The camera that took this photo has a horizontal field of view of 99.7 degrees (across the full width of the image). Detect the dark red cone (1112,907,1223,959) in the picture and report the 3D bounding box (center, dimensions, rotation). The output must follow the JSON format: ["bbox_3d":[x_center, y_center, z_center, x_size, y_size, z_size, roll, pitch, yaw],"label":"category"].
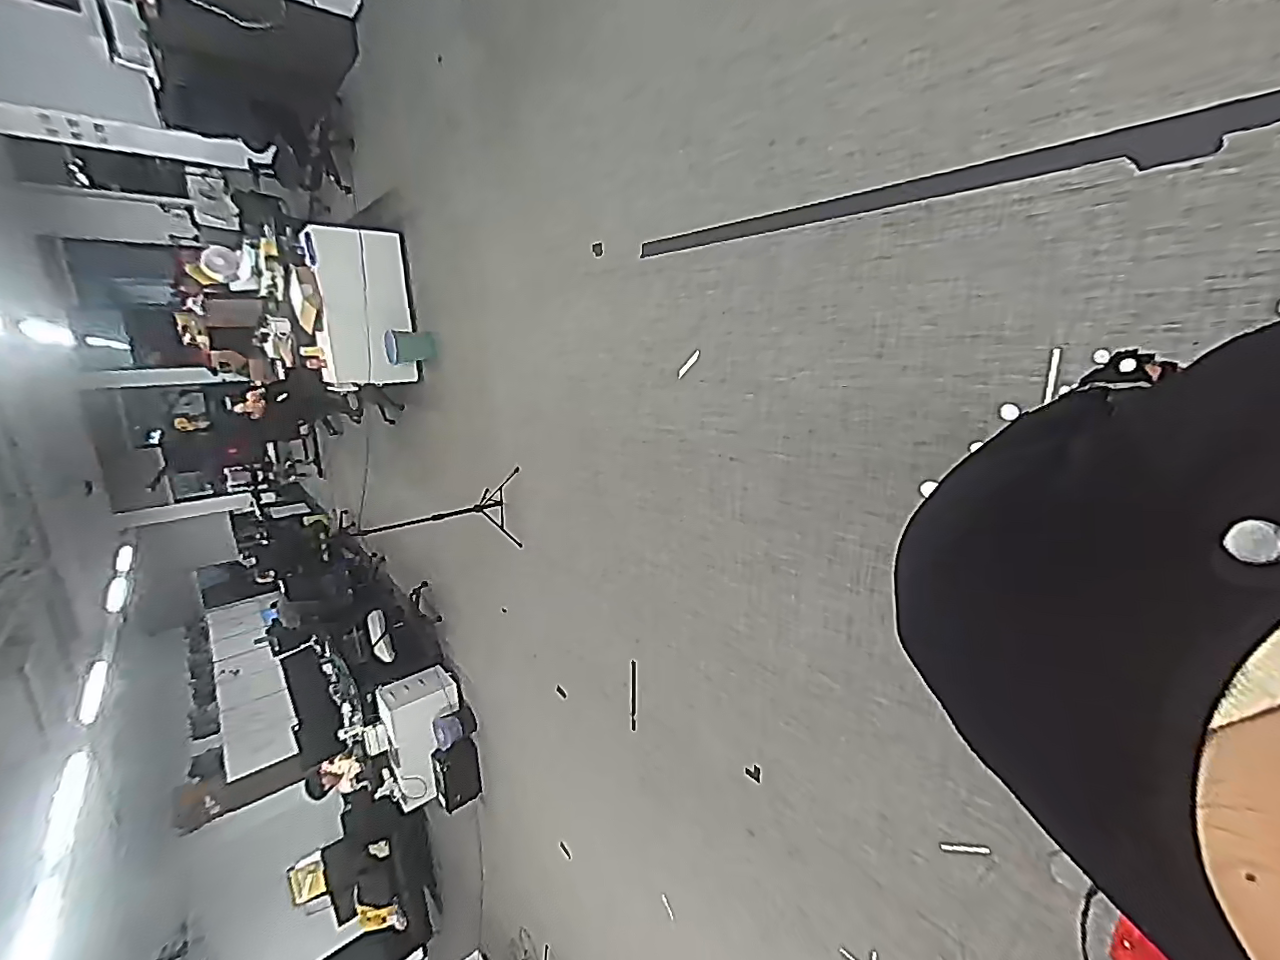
[{"bbox_3d":[1.009,1.069,1.041,0.201,0.394,0.202,16,113,49],"label":"dark red cone"}]
